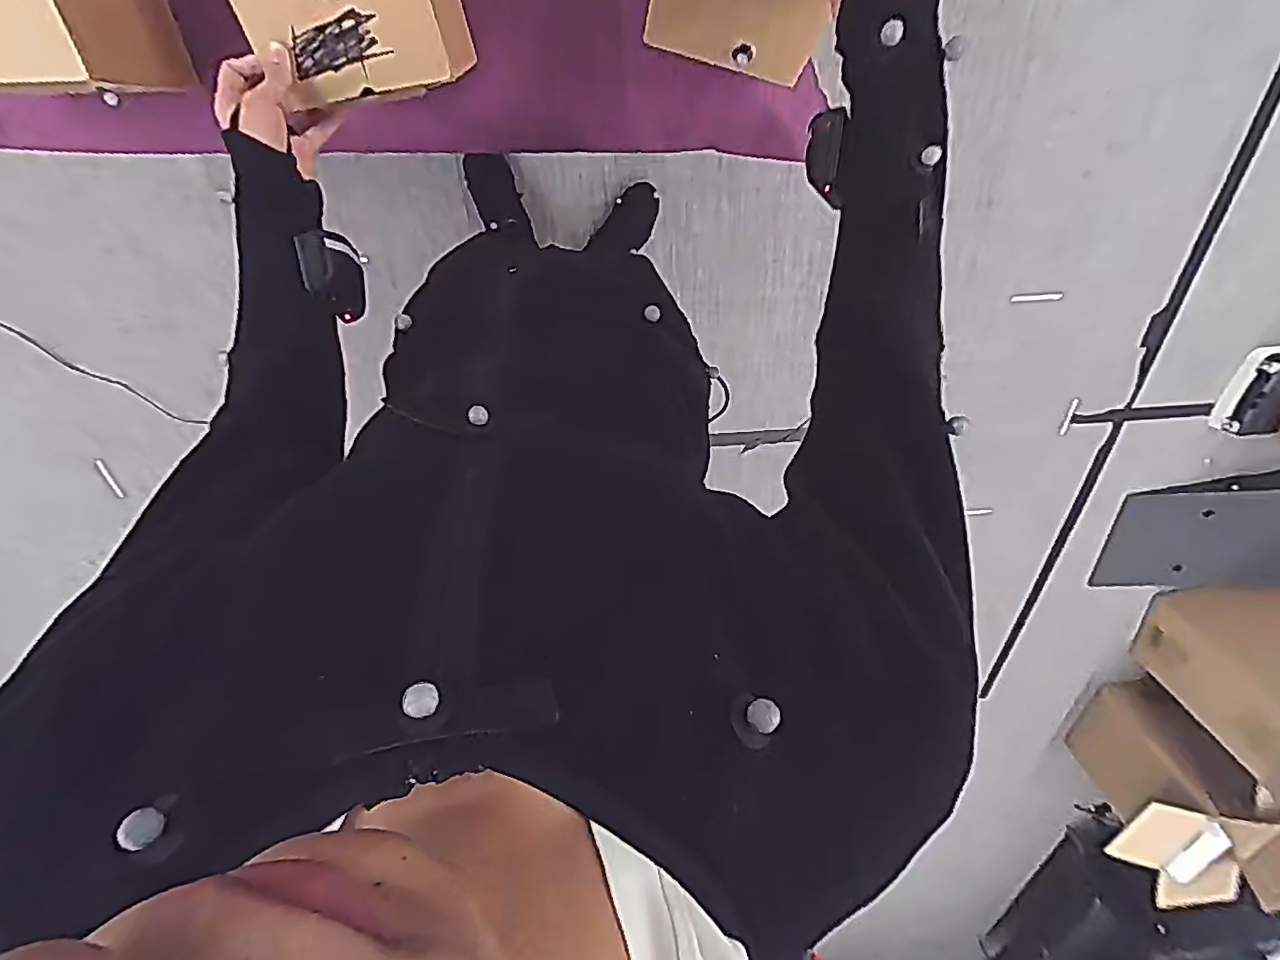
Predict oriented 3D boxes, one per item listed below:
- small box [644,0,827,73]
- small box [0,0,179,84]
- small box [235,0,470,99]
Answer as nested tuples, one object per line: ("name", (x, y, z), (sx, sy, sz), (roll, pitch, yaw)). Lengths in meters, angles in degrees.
("small box", (0.108, -0.527, 0.480), (0.168, 0.176, 0.179), (10, 83, -8))
("small box", (-0.584, -0.475, 0.500), (0.179, 0.176, 0.168), (-4, 123, -3))
("small box", (-0.273, -0.486, 0.506), (0.168, 0.176, 0.179), (-10, 131, 1))
